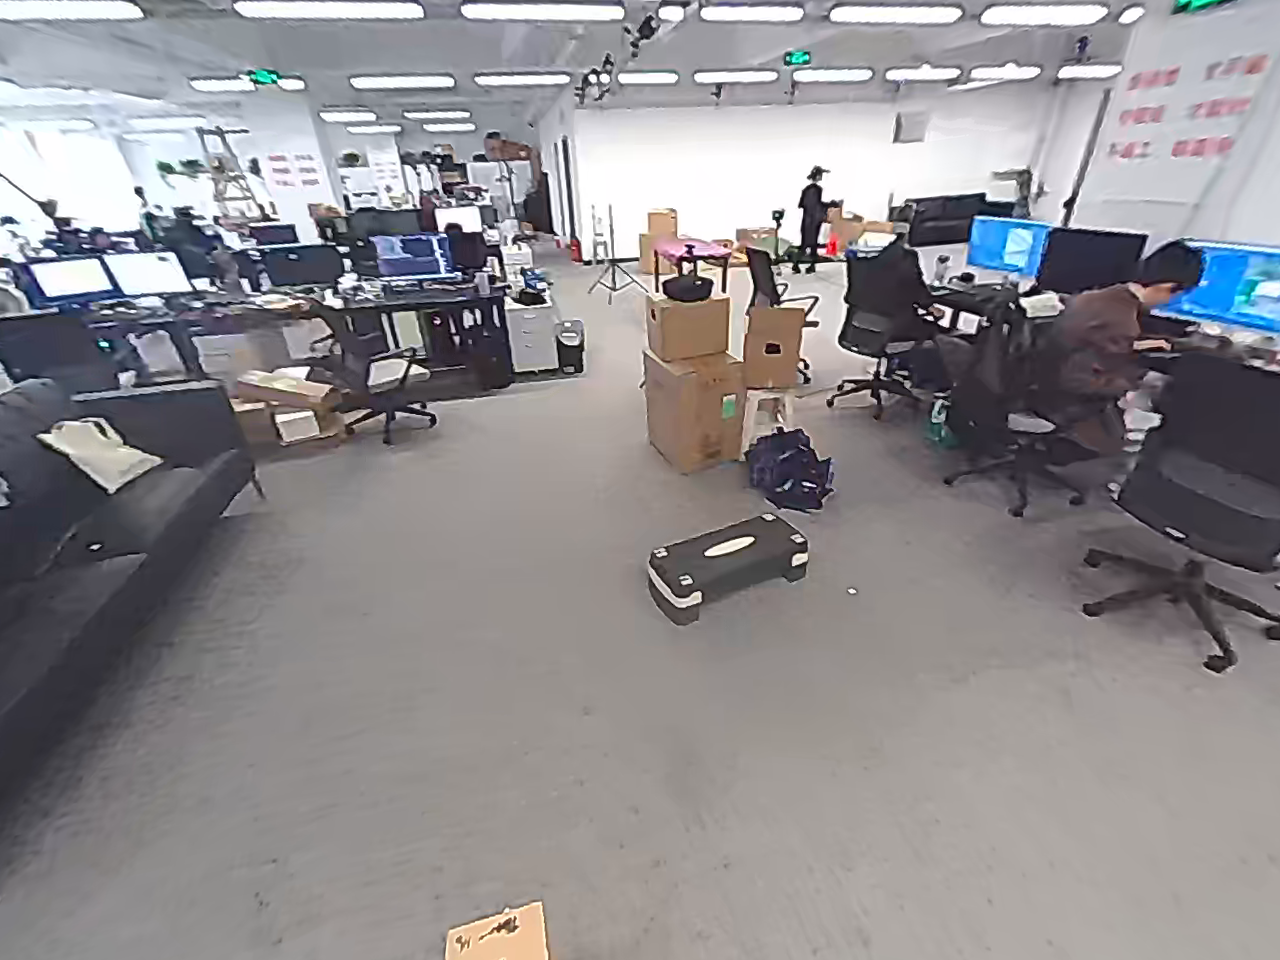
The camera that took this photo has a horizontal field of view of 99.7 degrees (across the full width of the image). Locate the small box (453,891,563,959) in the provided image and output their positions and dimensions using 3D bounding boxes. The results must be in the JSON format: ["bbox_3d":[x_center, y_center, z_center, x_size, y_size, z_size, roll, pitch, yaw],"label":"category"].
[{"bbox_3d":[-0.215,0.853,0.915,0.168,0.176,0.179,-10,33,-12],"label":"small box"}]
